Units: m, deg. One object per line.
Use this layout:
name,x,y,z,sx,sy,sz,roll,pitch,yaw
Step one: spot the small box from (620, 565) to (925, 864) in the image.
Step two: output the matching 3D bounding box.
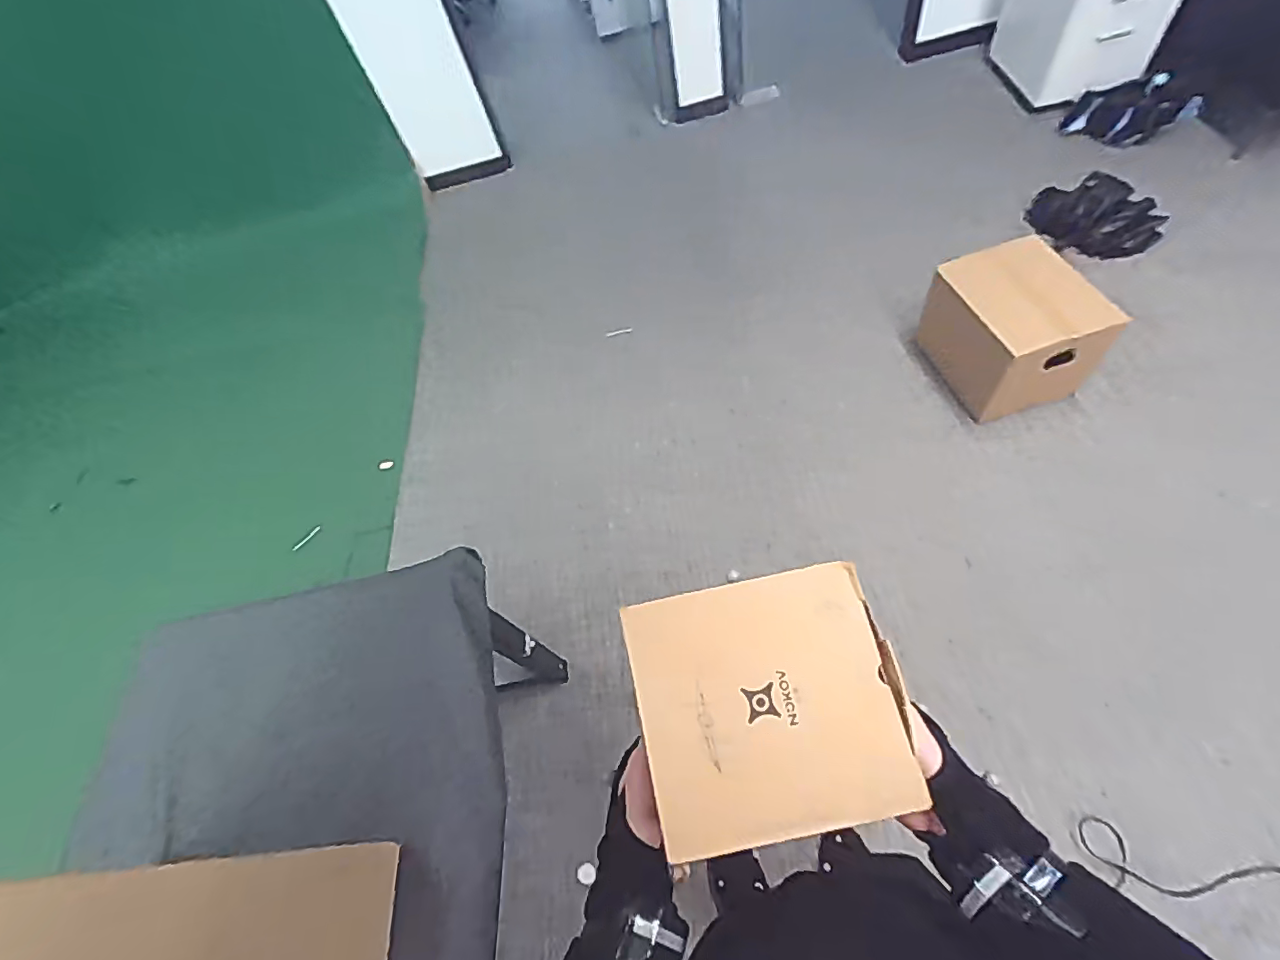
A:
small box,0.090,0.177,0.446,0.179,0.176,0.168,-13,71,1
